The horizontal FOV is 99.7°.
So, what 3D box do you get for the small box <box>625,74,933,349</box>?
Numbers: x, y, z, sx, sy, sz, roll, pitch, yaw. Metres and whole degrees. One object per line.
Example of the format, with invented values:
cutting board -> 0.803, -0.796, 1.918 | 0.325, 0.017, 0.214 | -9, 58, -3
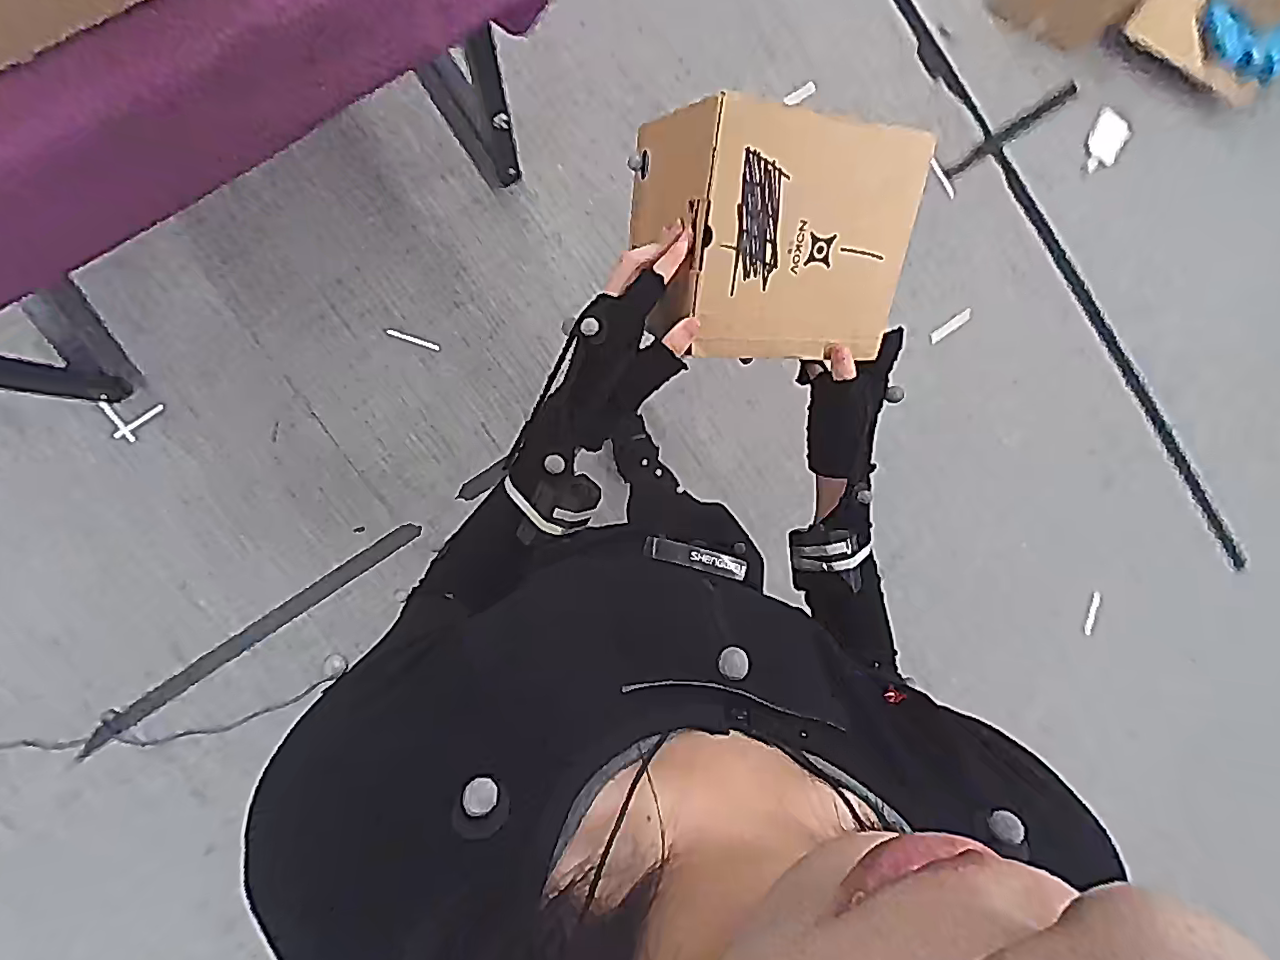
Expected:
small box -> 0.094, -0.211, 0.455 | 0.179, 0.176, 0.168 | -4, 117, -19
